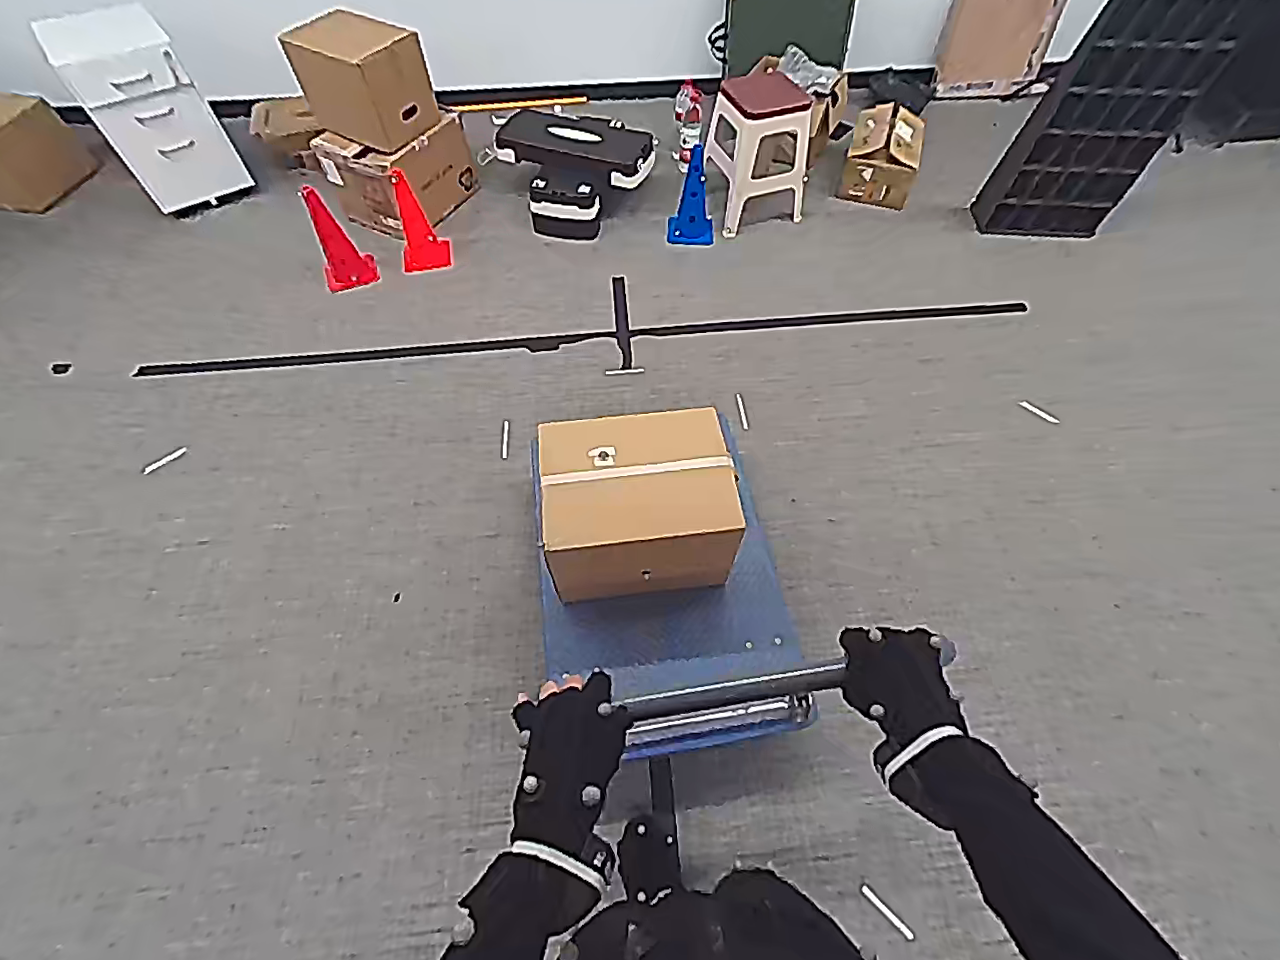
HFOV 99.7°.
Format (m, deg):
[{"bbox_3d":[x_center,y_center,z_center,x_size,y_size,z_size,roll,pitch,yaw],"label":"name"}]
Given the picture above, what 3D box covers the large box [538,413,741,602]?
[{"bbox_3d":[-0.009,0.074,1.277,0.408,0.320,0.320,-7,59,-3],"label":"large box"}]
